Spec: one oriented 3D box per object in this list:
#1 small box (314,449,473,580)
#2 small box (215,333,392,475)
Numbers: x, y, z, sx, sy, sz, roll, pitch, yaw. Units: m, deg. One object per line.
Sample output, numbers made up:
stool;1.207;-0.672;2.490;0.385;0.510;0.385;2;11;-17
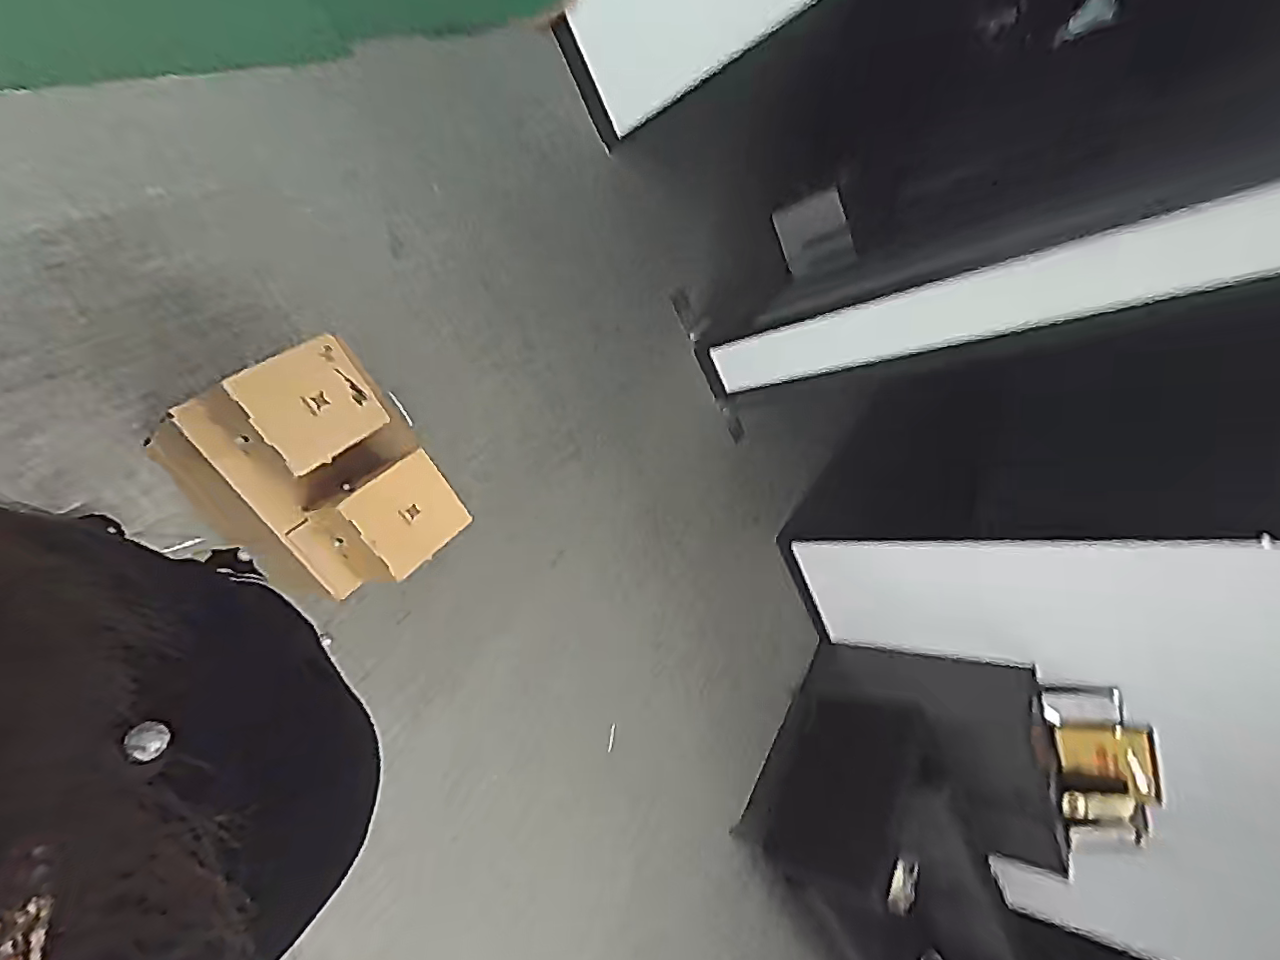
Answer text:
small box;-0.452;0.062;0.992;0.179;0.176;0.168;-47;118;-39
small box;-0.559;-0.118;0.894;0.179;0.176;0.168;-46;120;-37
